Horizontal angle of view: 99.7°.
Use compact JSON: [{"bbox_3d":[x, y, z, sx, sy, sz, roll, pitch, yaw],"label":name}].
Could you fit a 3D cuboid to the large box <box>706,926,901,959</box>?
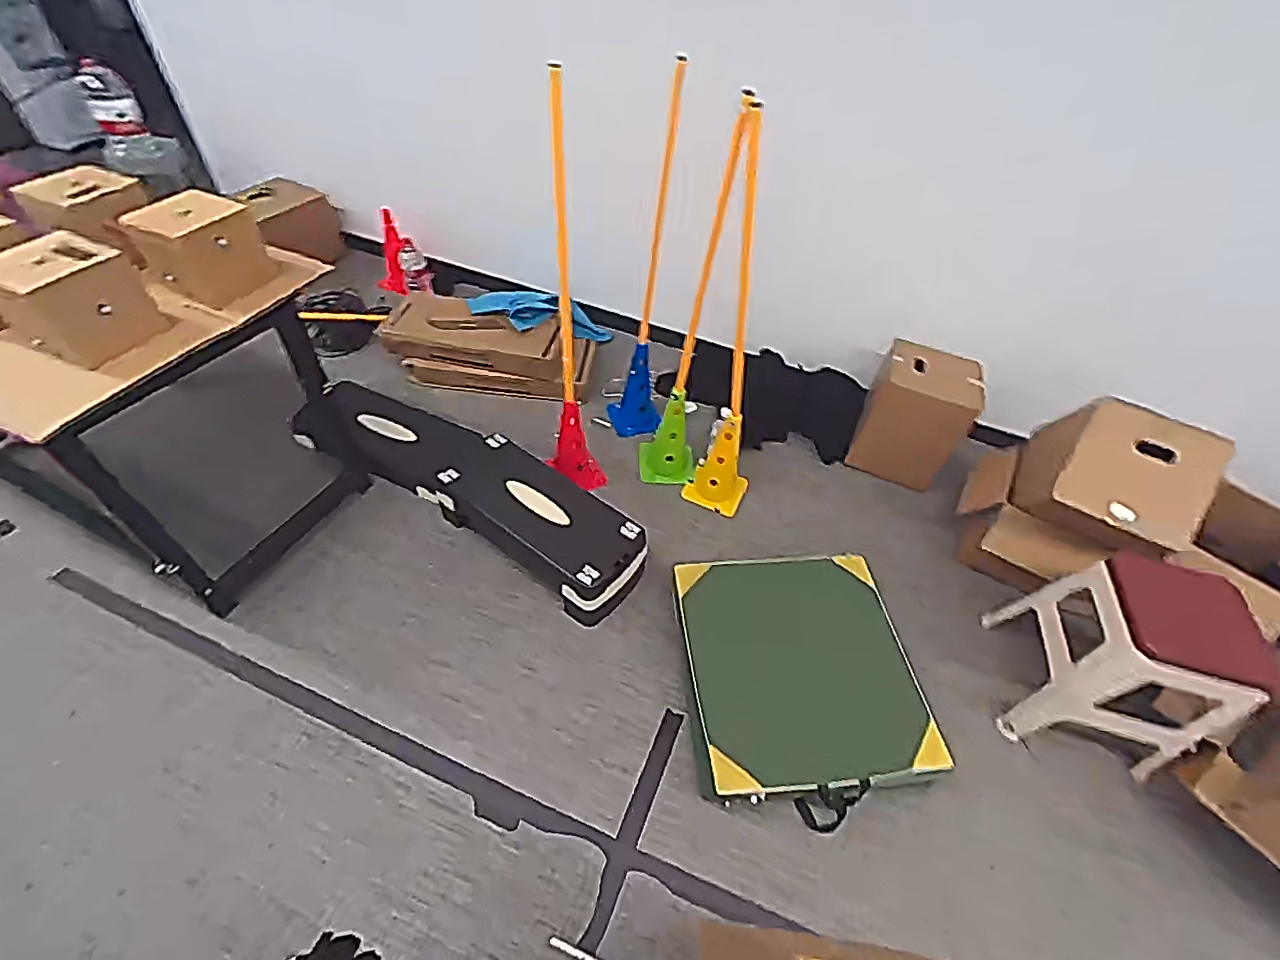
[{"bbox_3d":[0.268,0.771,0.646,0.320,0.408,0.320,11,55,-1],"label":"large box"}]
